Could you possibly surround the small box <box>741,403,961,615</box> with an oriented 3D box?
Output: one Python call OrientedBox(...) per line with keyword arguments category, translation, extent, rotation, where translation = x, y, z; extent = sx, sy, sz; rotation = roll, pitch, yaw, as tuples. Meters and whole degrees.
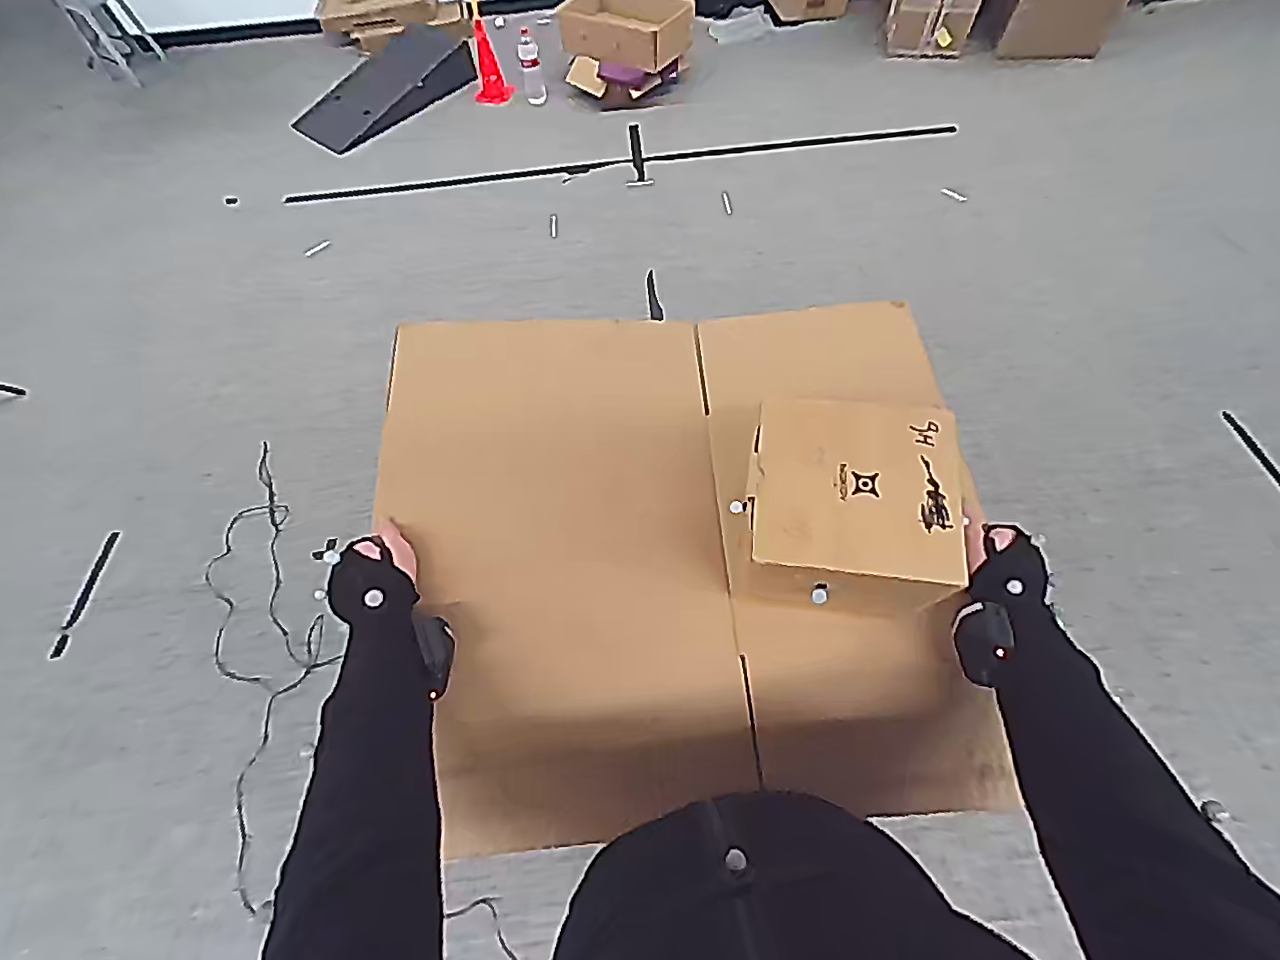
OrientedBox(category="small box", translation=(0.199, 0.037, 0.558), extent=(0.179, 0.176, 0.168), rotation=(5, 67, 9))
